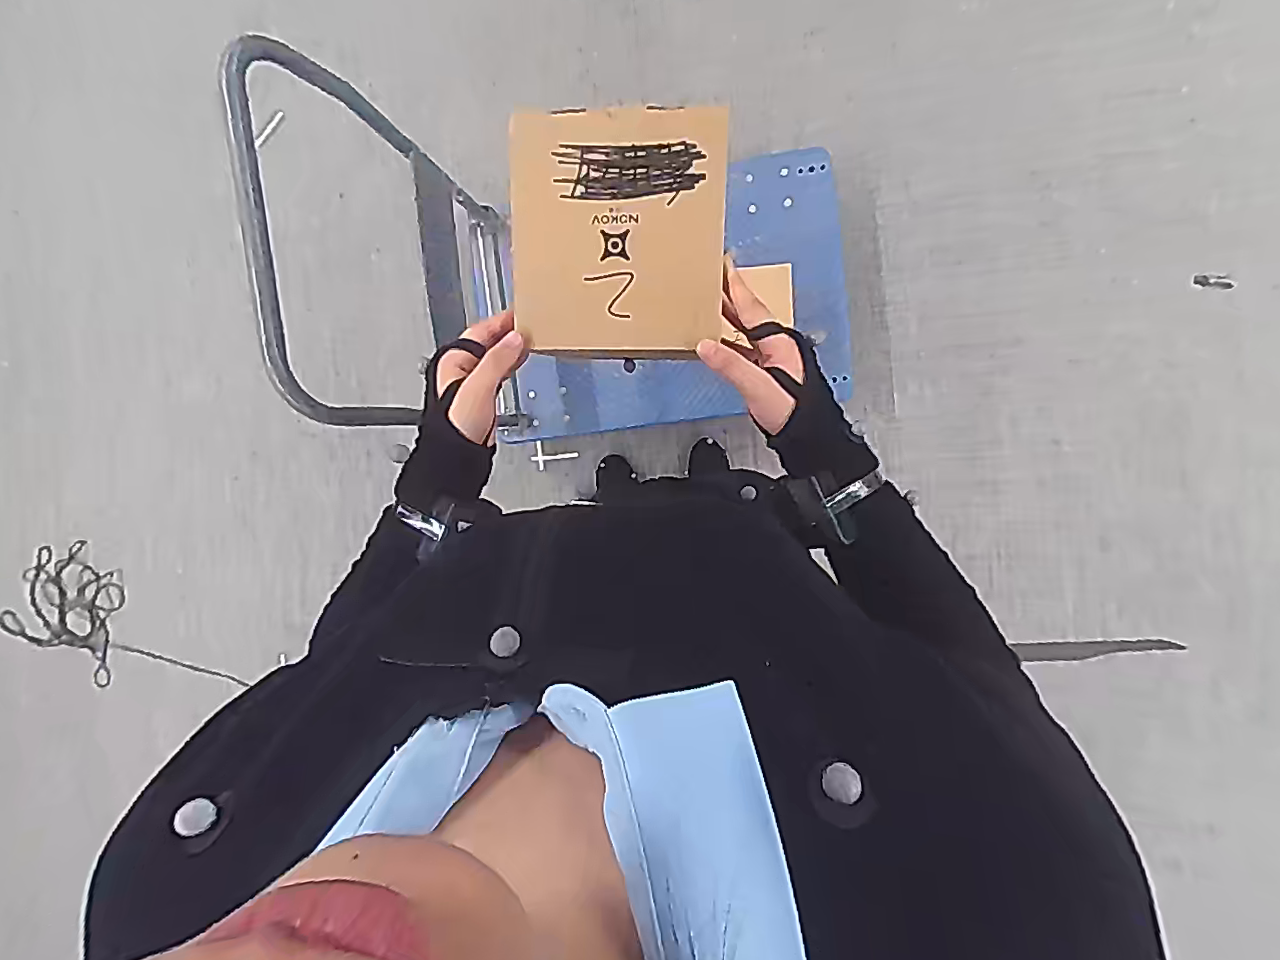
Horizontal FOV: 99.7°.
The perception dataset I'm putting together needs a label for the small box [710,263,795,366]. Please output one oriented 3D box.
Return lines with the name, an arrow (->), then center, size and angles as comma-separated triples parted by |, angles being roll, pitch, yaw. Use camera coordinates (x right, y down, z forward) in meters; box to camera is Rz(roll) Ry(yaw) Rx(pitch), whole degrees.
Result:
small box -> 0.240, -0.352, 1.177 | 0.168, 0.176, 0.179 | -2, 93, 7
